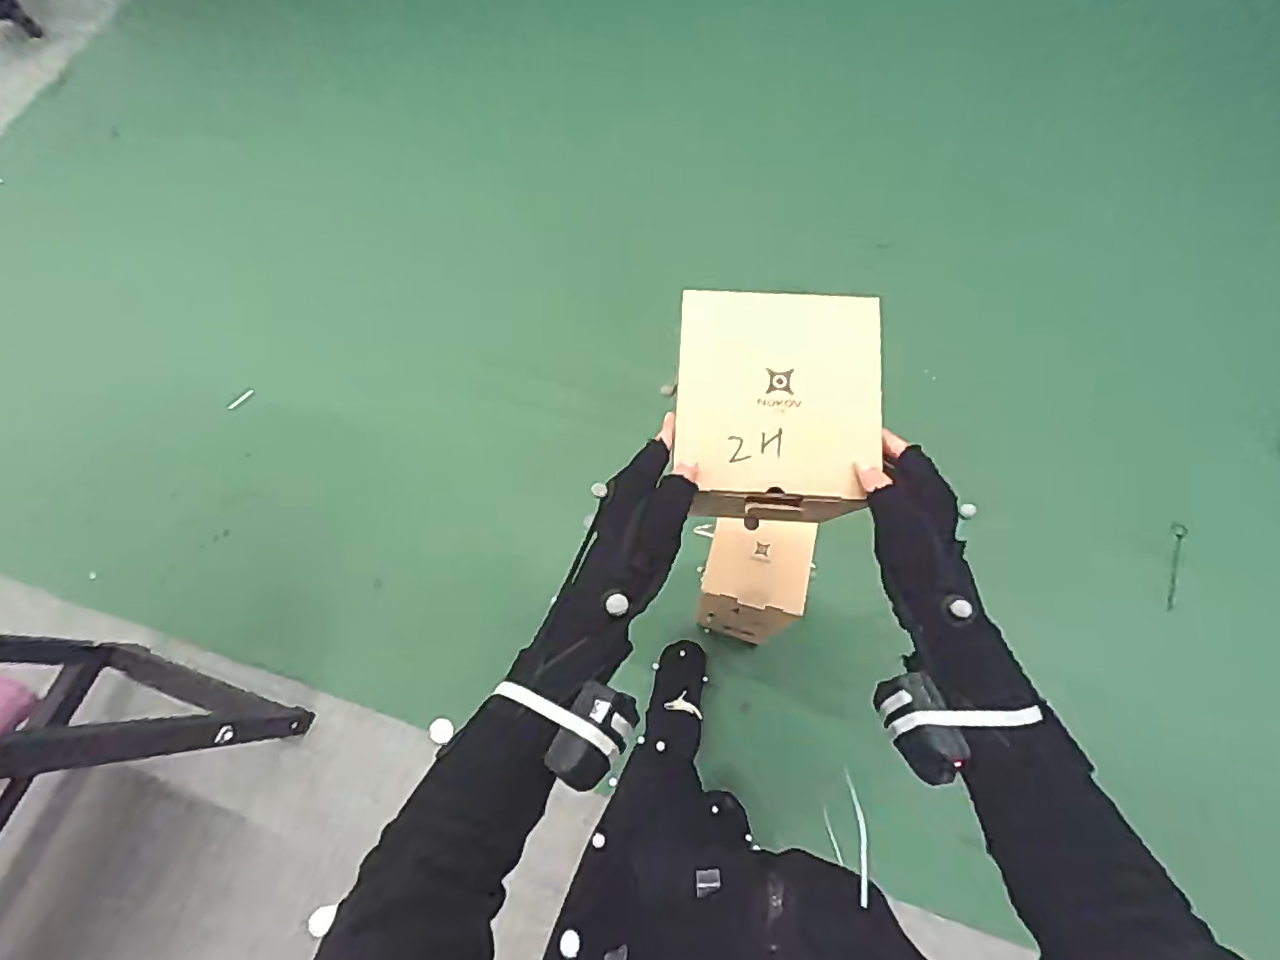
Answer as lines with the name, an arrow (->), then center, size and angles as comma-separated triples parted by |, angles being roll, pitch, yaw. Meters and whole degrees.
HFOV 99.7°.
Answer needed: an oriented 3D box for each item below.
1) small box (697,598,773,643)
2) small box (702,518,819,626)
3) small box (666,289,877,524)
small box -> 0.238, 0.274, 1.275 | 0.168, 0.176, 0.179 | 16, 71, 10
small box -> 0.209, 0.150, 0.973 | 0.168, 0.176, 0.179 | 13, 70, 9
small box -> 0.113, -0.058, 0.519 | 0.168, 0.176, 0.179 | 3, 80, 3
